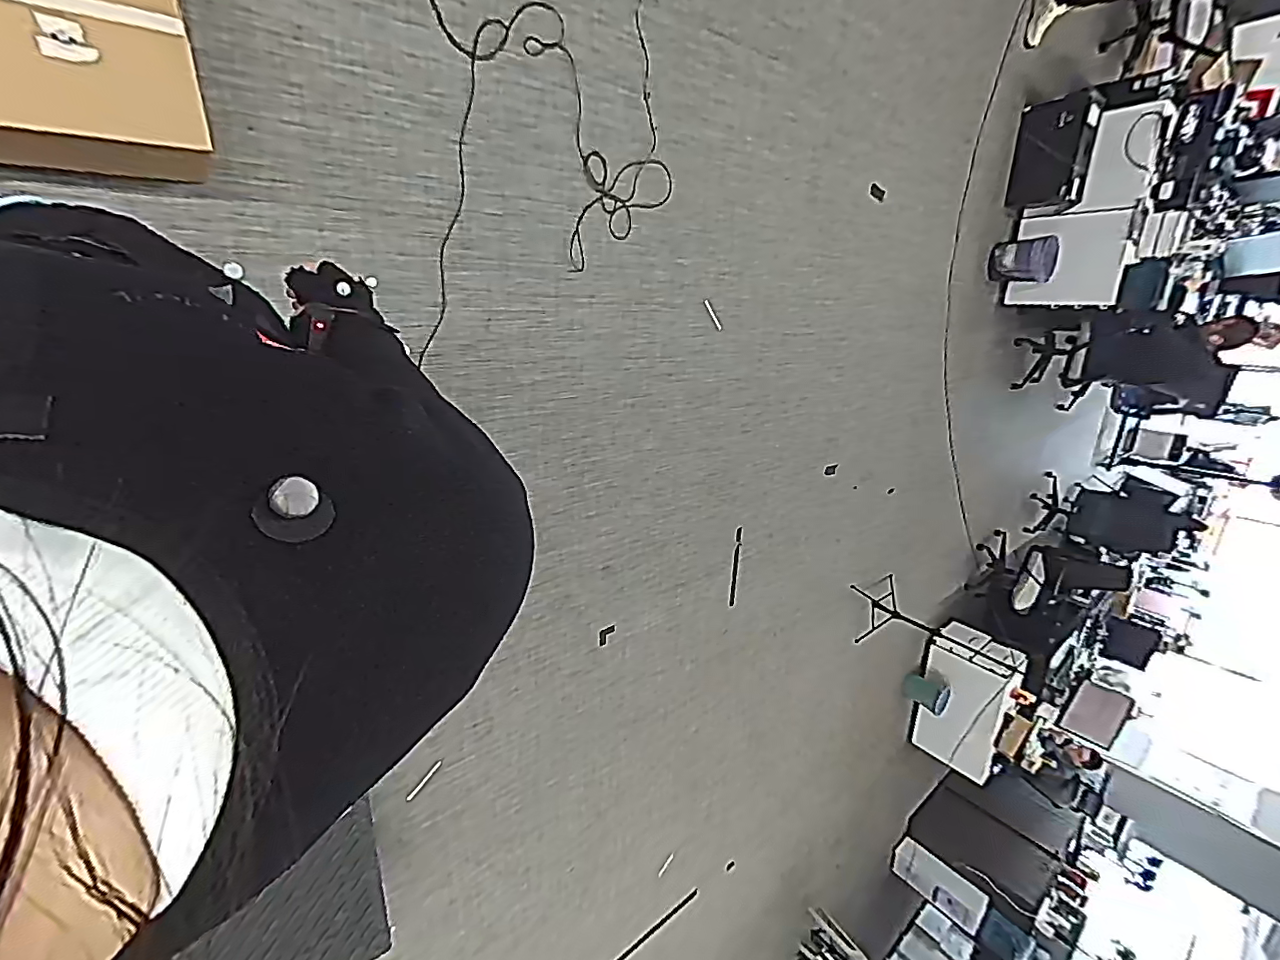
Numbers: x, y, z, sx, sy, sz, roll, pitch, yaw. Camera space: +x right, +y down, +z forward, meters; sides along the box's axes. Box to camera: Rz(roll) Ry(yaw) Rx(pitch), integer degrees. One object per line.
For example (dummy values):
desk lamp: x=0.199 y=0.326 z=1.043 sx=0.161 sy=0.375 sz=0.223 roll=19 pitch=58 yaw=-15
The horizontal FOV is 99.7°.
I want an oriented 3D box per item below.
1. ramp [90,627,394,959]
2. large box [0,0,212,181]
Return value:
ramp: x=-0.950 y=0.911 z=1.364 sx=0.509 sy=0.206 sz=0.991 roll=-12 pitch=111 yaw=-36
large box: x=-0.920 y=-0.651 z=0.789 sx=0.408 sy=0.320 sz=0.320 roll=-16 pitch=114 yaw=-37
